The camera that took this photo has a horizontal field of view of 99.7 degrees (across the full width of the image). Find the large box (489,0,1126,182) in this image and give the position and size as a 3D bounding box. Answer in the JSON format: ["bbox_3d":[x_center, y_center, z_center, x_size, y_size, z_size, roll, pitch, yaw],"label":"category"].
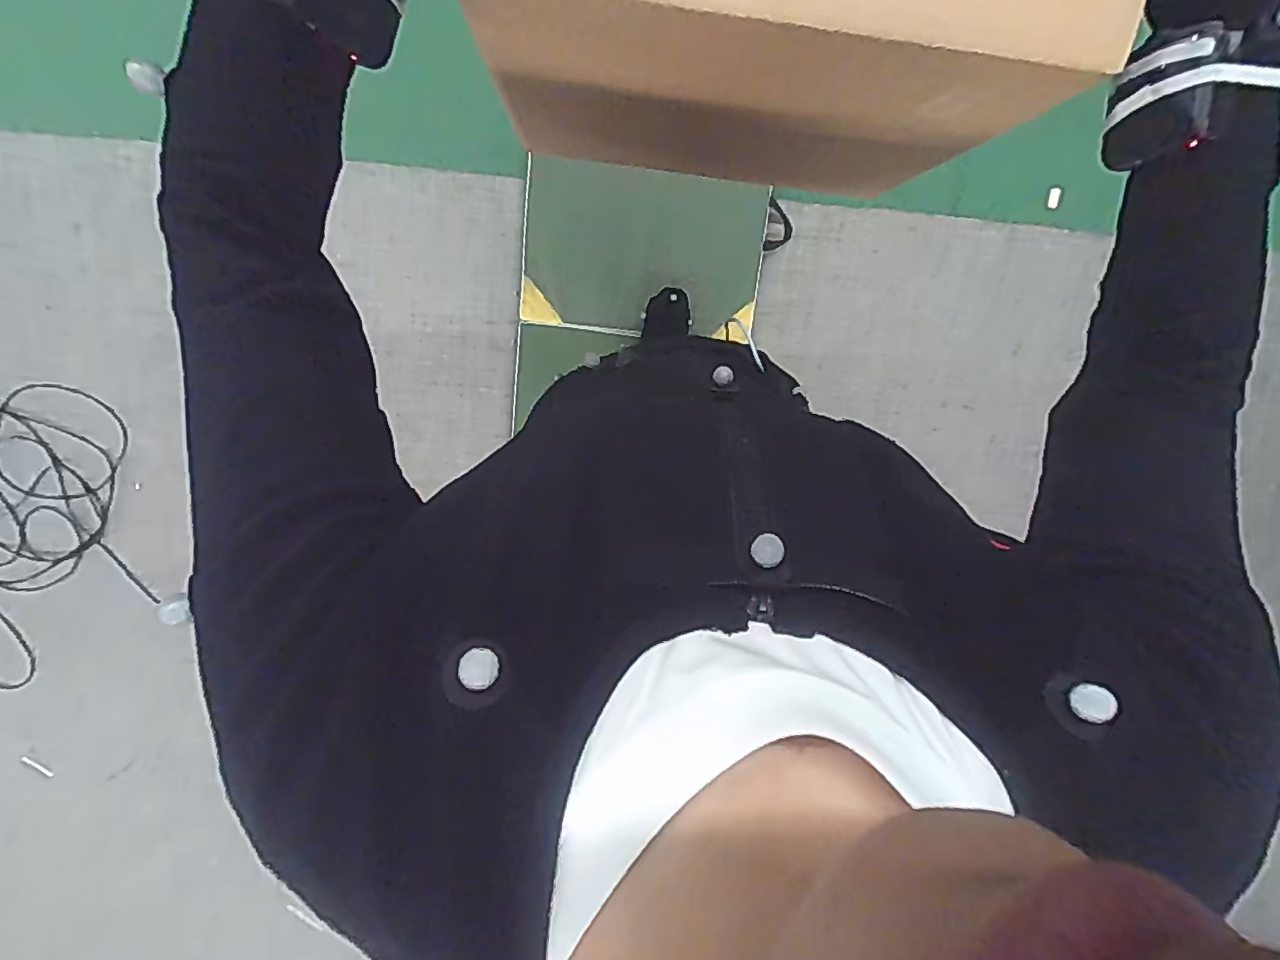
[{"bbox_3d":[0.101,-0.462,0.428,0.408,0.320,0.320,4,106,-6],"label":"large box"}]
